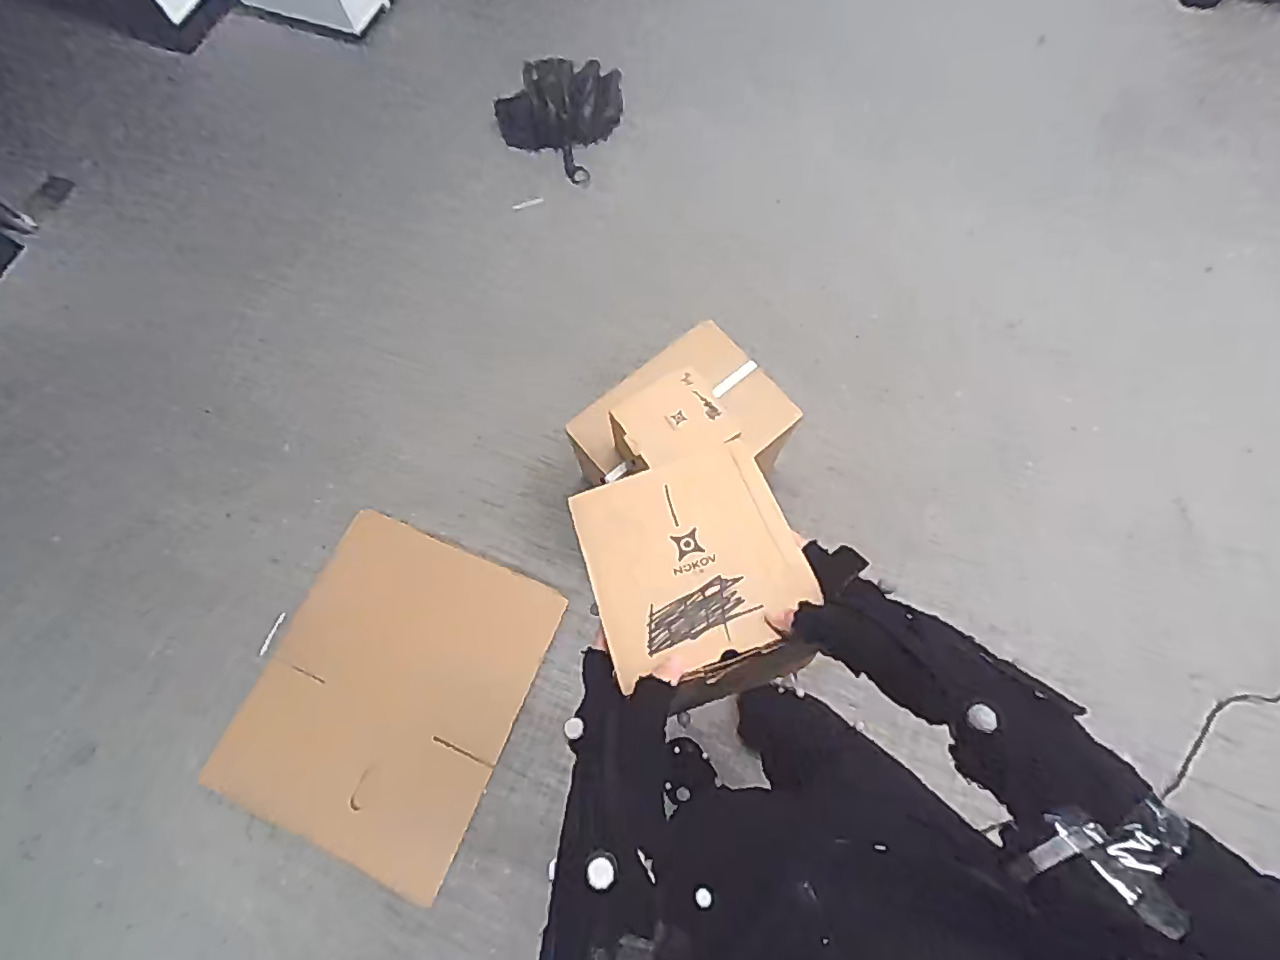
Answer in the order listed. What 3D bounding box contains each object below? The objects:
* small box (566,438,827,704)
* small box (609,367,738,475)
[{"bbox_3d":[0.051,0.097,0.511,0.168,0.176,0.179,-23,61,-3],"label":"small box"},{"bbox_3d":[0.064,-0.074,1.031,0.179,0.176,0.168,-34,72,-9],"label":"small box"}]
